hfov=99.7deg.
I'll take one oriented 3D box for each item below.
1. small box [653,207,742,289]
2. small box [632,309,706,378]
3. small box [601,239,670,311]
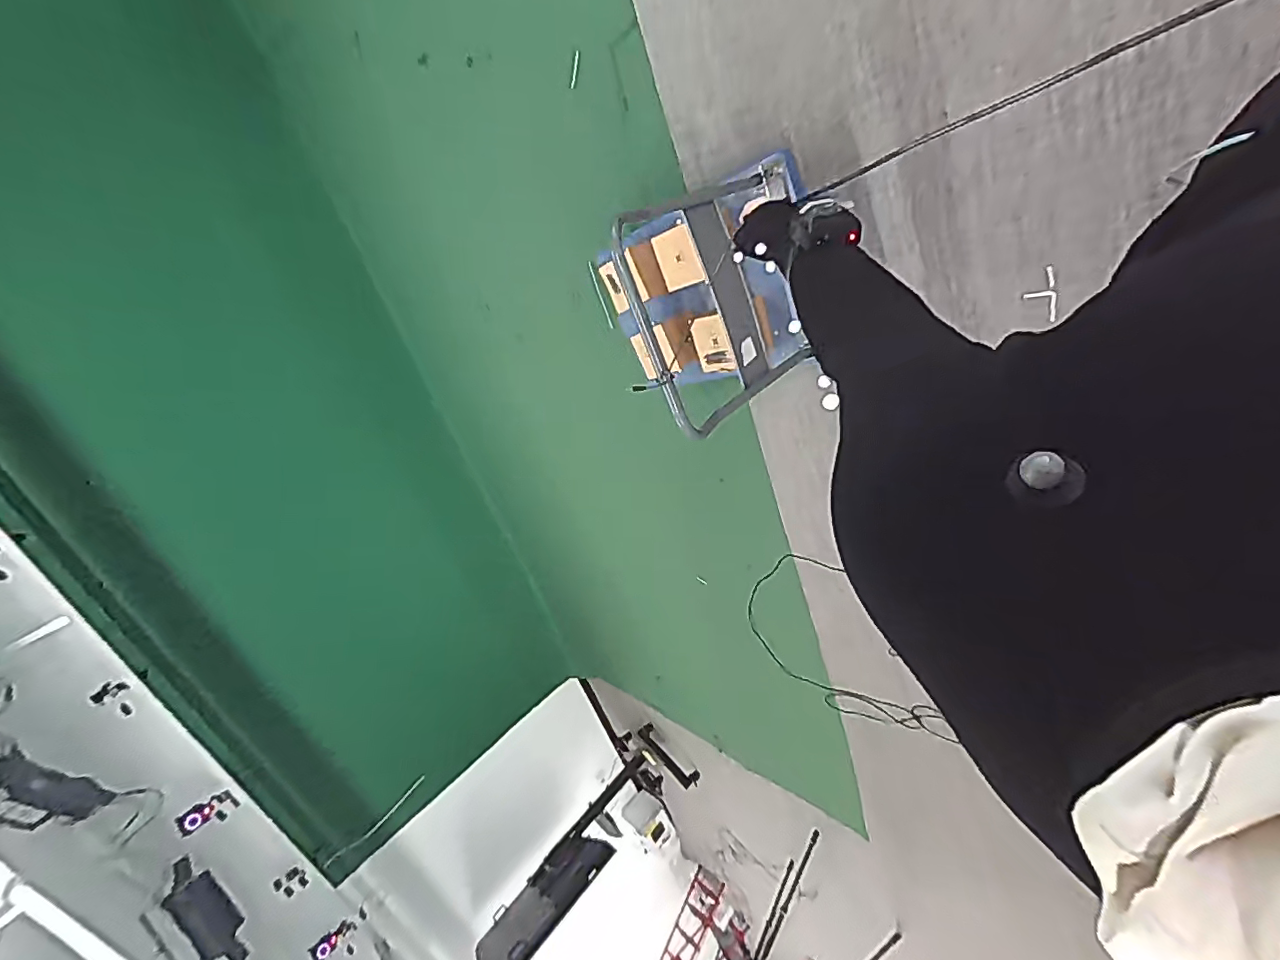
[{"bbox_3d":[0.176,-0.699,1.635,0.179,0.176,0.168,2,121,50],"label":"small box"},{"bbox_3d":[0.110,-0.483,1.910,0.179,0.176,0.168,-4,115,53],"label":"small box"},{"bbox_3d":[0.004,-0.702,1.844,0.179,0.176,0.168,-5,116,52],"label":"small box"}]
